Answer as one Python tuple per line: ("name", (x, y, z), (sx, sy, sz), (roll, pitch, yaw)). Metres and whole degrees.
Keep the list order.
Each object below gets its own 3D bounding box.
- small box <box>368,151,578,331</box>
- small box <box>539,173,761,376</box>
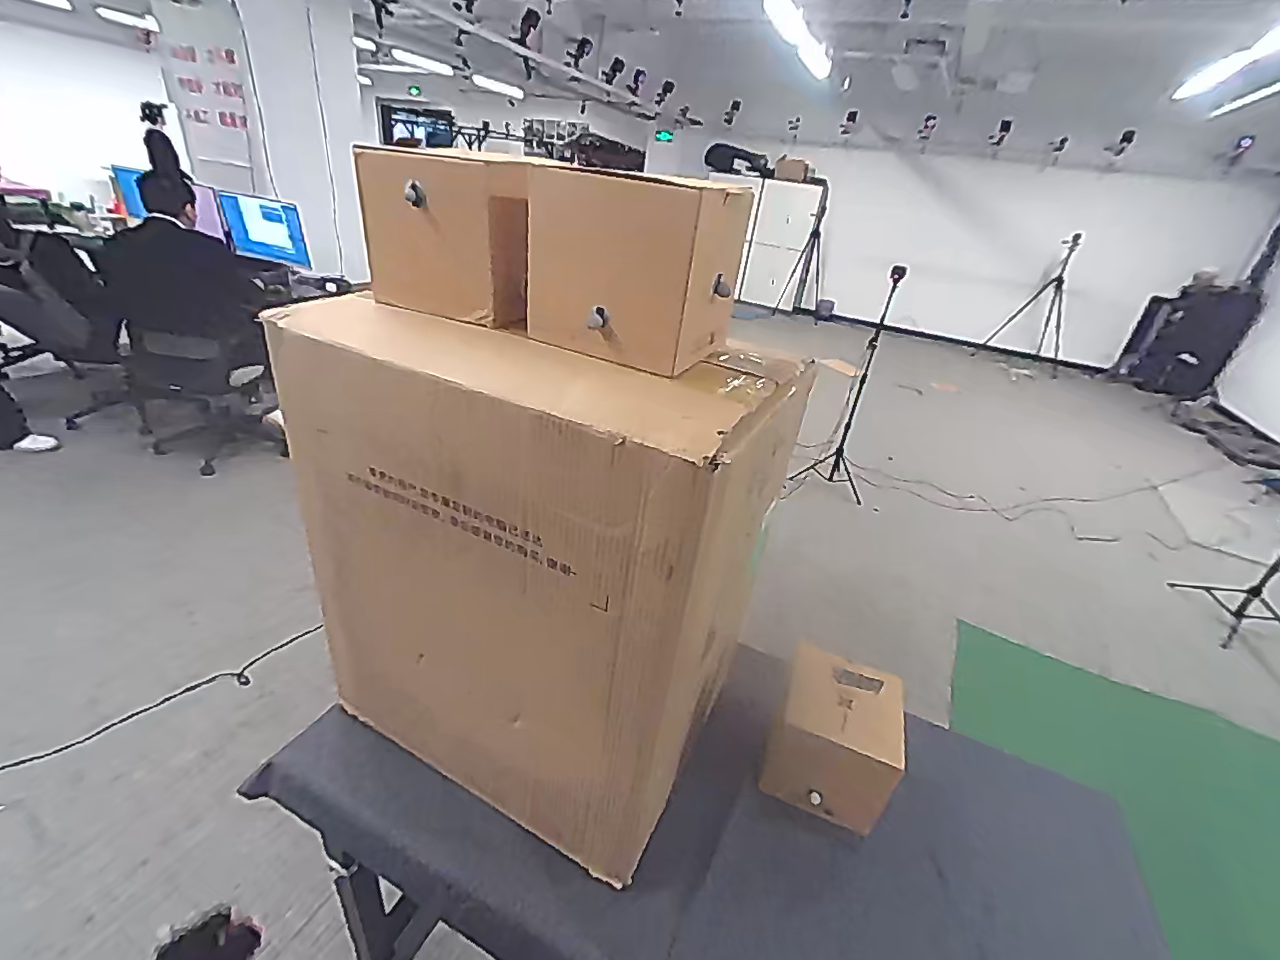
("small box", (-0.191, -0.289, 0.656), (0.179, 0.176, 0.168), (18, 33, 17))
("small box", (0.009, -0.222, 0.584), (0.179, 0.176, 0.168), (20, 31, 19))
